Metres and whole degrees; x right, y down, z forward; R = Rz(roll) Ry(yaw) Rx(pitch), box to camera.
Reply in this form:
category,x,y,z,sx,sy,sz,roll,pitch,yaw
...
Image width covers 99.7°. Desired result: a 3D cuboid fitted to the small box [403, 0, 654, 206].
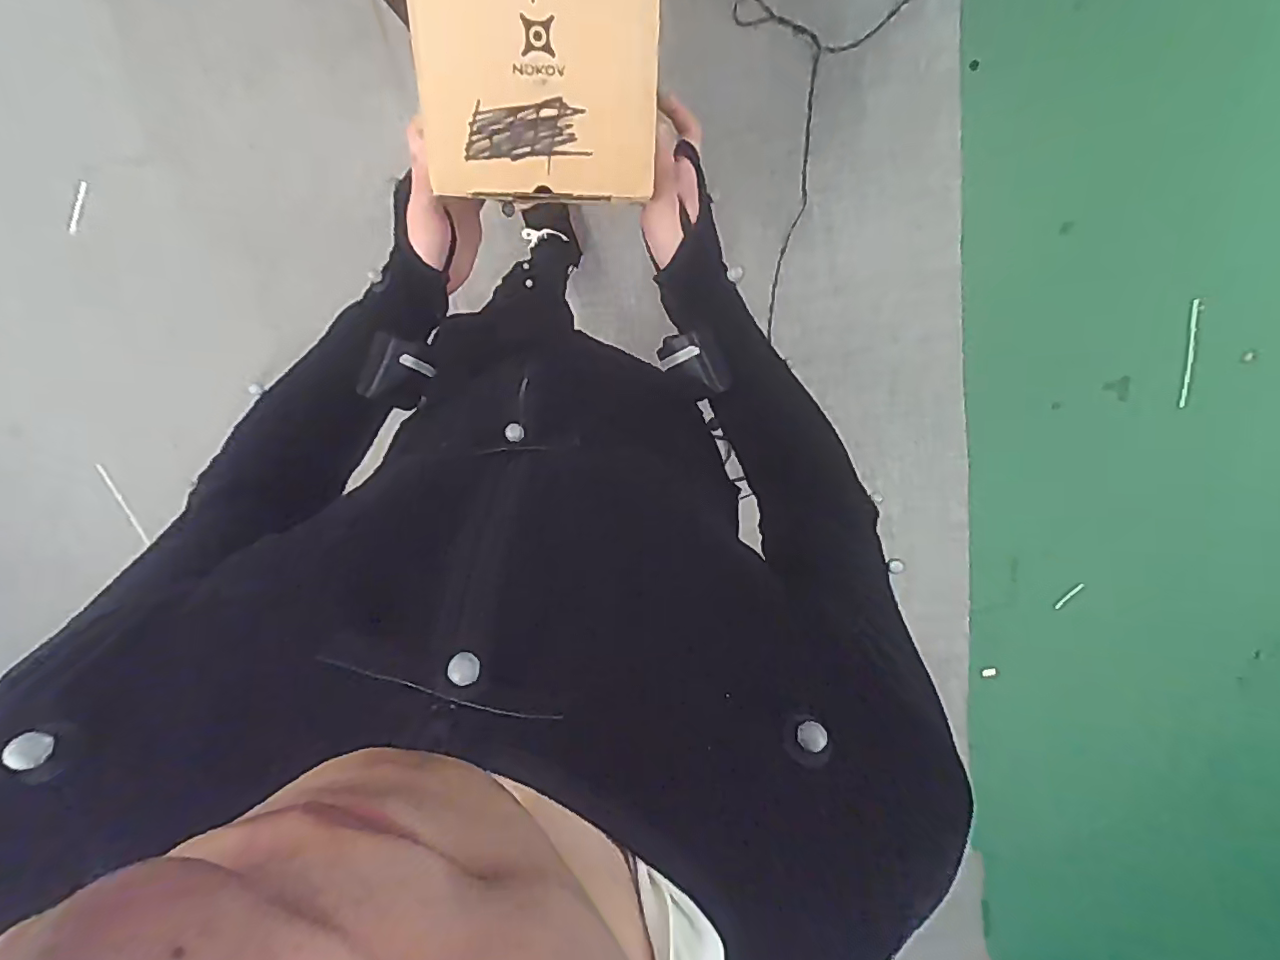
category,x,y,z,sx,sy,sz,roll,pitch,yaw
small box,-0.074,-0.322,0.436,0.168,0.176,0.179,1,115,-2
